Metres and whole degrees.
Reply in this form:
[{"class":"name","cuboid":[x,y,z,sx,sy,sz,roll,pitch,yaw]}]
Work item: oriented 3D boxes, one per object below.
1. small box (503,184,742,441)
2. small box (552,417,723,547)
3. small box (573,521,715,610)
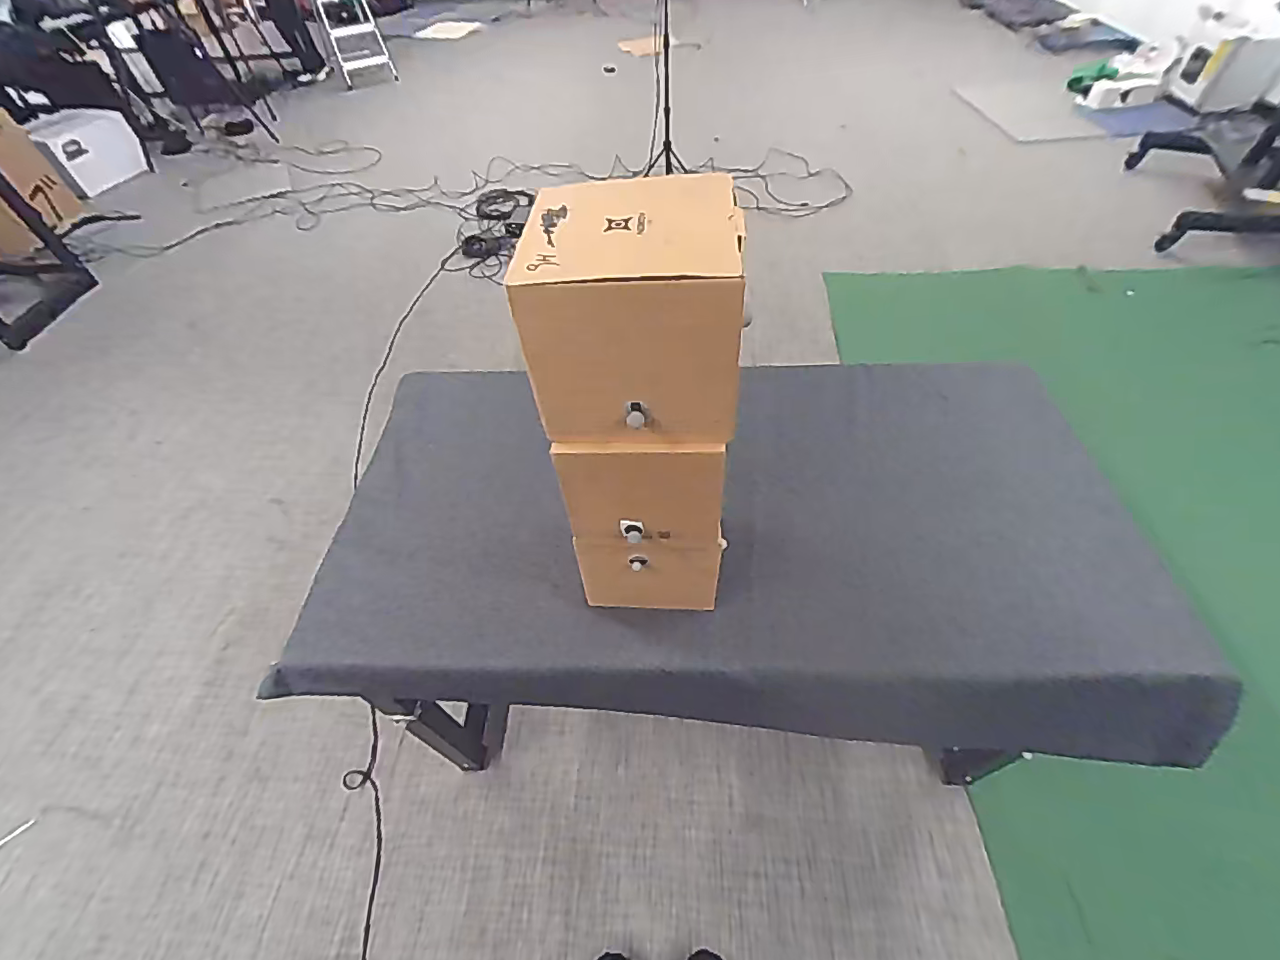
[{"class":"small box","cuboid":[-0.006,-0.149,0.499,0.179,0.176,0.168,0,50,5]},{"class":"small box","cuboid":[0.005,-0.041,0.622,0.168,0.176,0.179,-1,51,5]},{"class":"small box","cuboid":[0.013,0.071,0.759,0.179,0.176,0.168,1,51,4]}]
